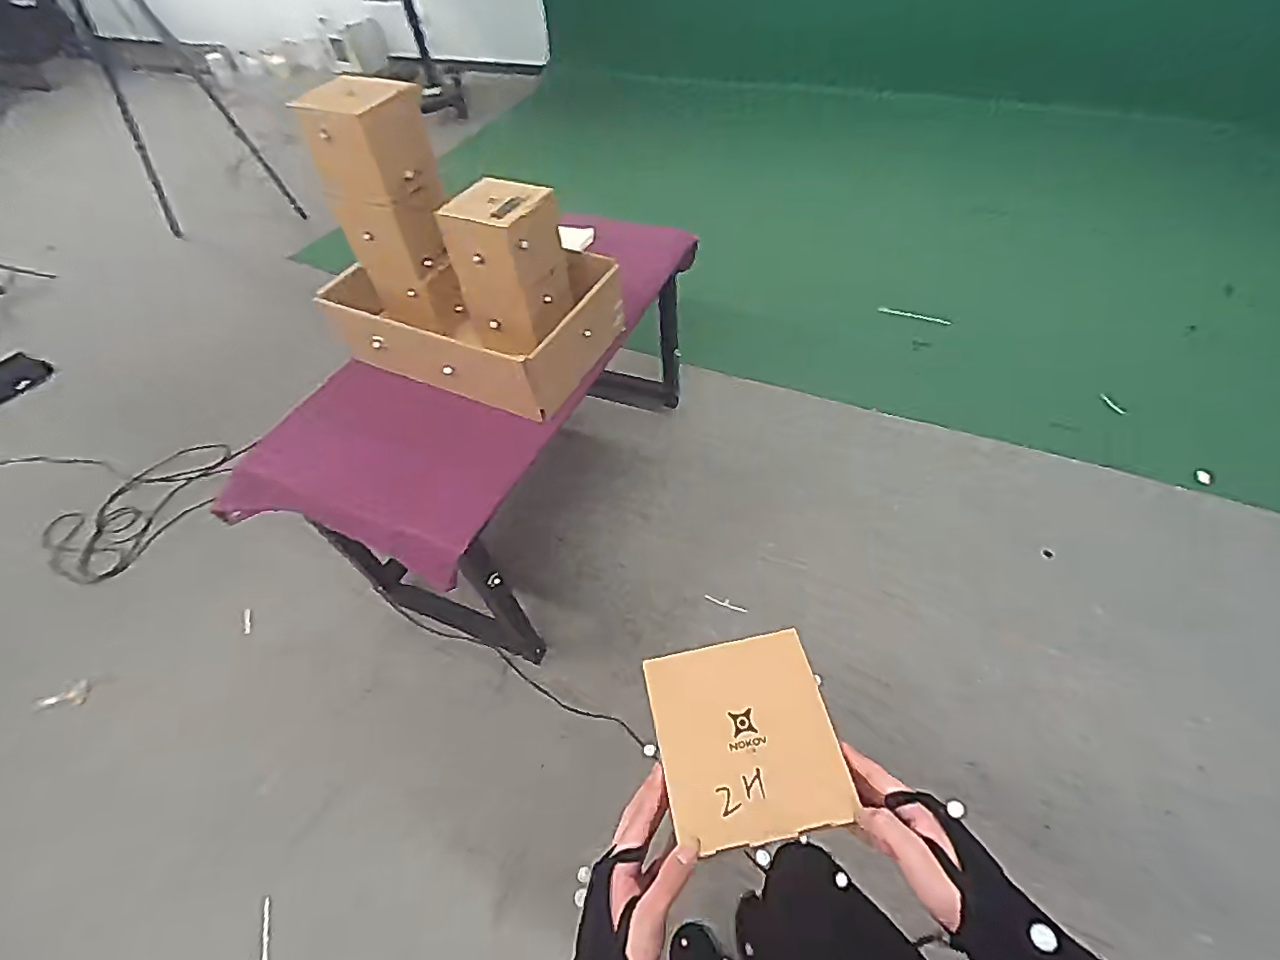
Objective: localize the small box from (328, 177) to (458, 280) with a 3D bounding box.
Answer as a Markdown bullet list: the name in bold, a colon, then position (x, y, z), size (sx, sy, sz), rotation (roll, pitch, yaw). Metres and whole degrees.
- **small box**: position (-0.542, -0.576, 1.217), size (0.179, 0.176, 0.168), rotation (17, 55, 17)

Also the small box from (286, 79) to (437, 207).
- **small box**: position (-0.548, -0.675, 1.088), size (0.179, 0.176, 0.168), rotation (18, 56, 15)

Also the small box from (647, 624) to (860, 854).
- **small box**: position (0.104, 0.280, 0.579), size (0.168, 0.176, 0.179), rotation (-11, 54, -2)

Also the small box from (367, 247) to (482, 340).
- **small box**: position (-0.526, -0.474, 1.346), size (0.179, 0.176, 0.168), rotation (19, 56, 16)
